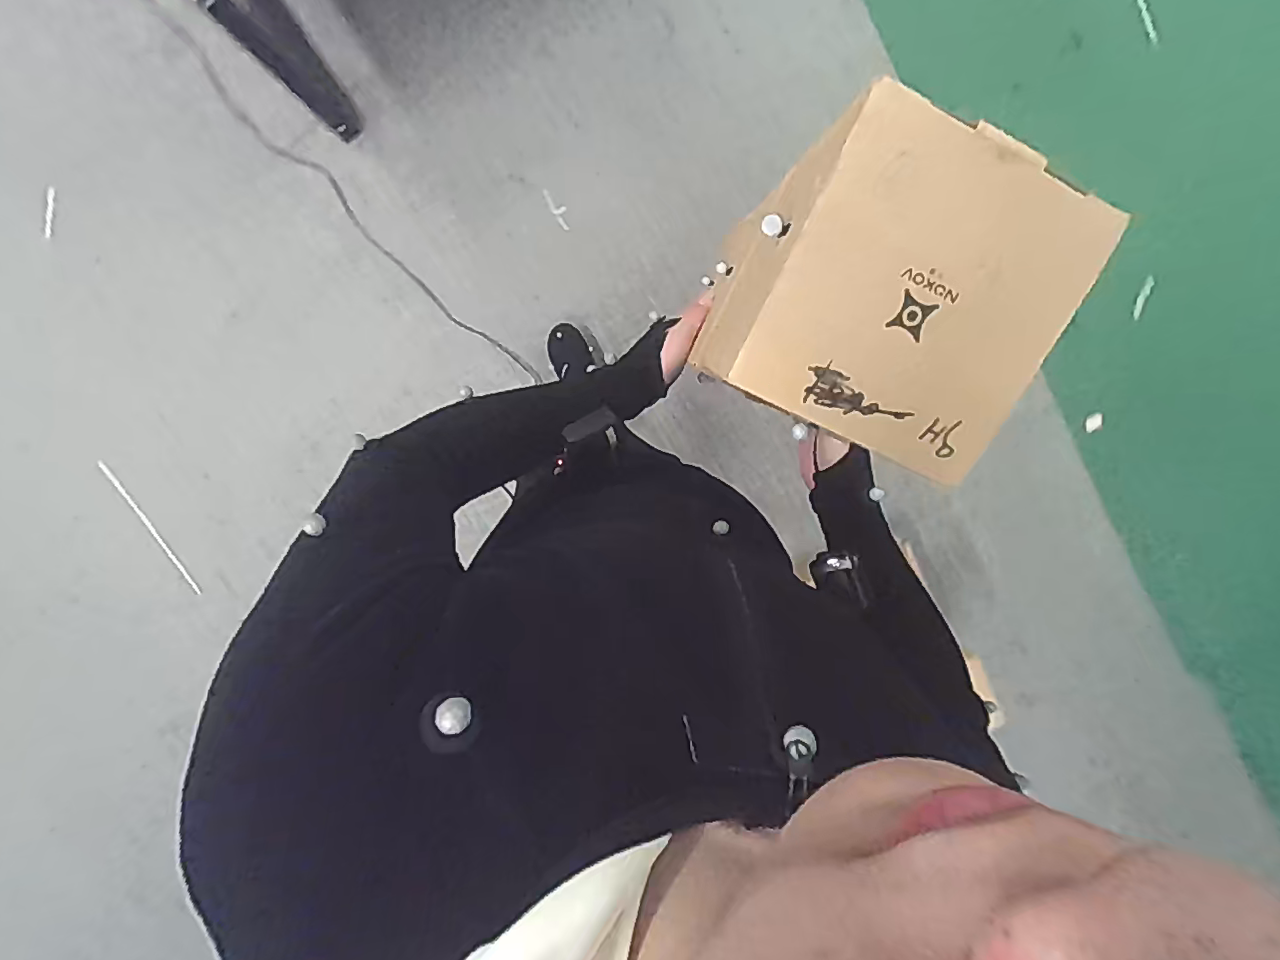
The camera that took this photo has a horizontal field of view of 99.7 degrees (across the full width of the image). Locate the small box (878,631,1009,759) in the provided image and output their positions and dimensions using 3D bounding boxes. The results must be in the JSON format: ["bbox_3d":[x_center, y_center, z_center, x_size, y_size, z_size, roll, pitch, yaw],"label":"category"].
[{"bbox_3d":[0.670,0.473,1.211,0.168,0.176,0.179,-25,98,3],"label":"small box"}]
